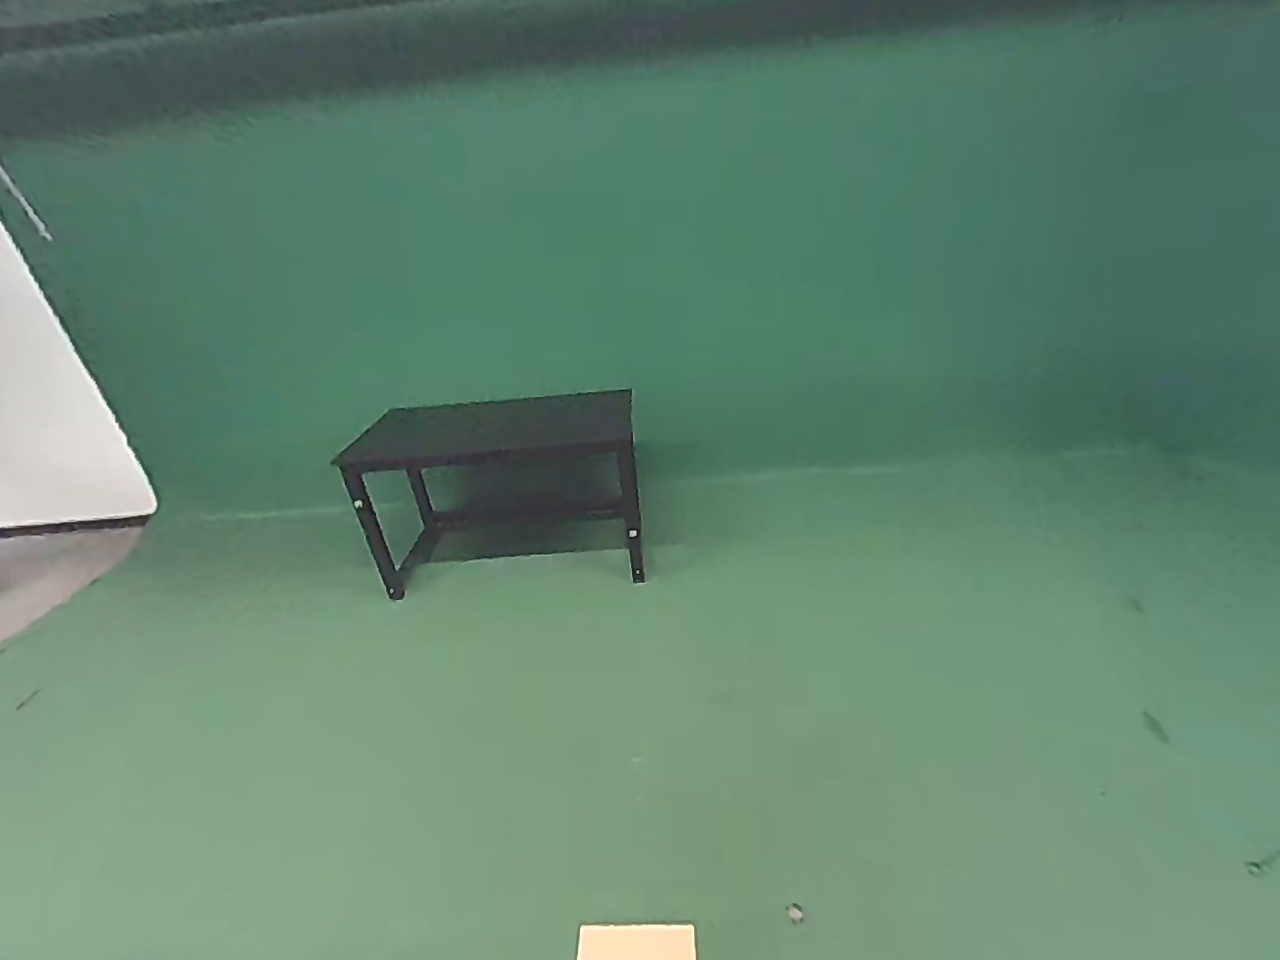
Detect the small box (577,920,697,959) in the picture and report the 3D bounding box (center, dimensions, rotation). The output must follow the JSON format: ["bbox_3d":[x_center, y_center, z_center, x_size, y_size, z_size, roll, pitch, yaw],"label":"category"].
[{"bbox_3d":[-0.001,0.739,0.729,0.168,0.176,0.179,-4,27,4],"label":"small box"}]
